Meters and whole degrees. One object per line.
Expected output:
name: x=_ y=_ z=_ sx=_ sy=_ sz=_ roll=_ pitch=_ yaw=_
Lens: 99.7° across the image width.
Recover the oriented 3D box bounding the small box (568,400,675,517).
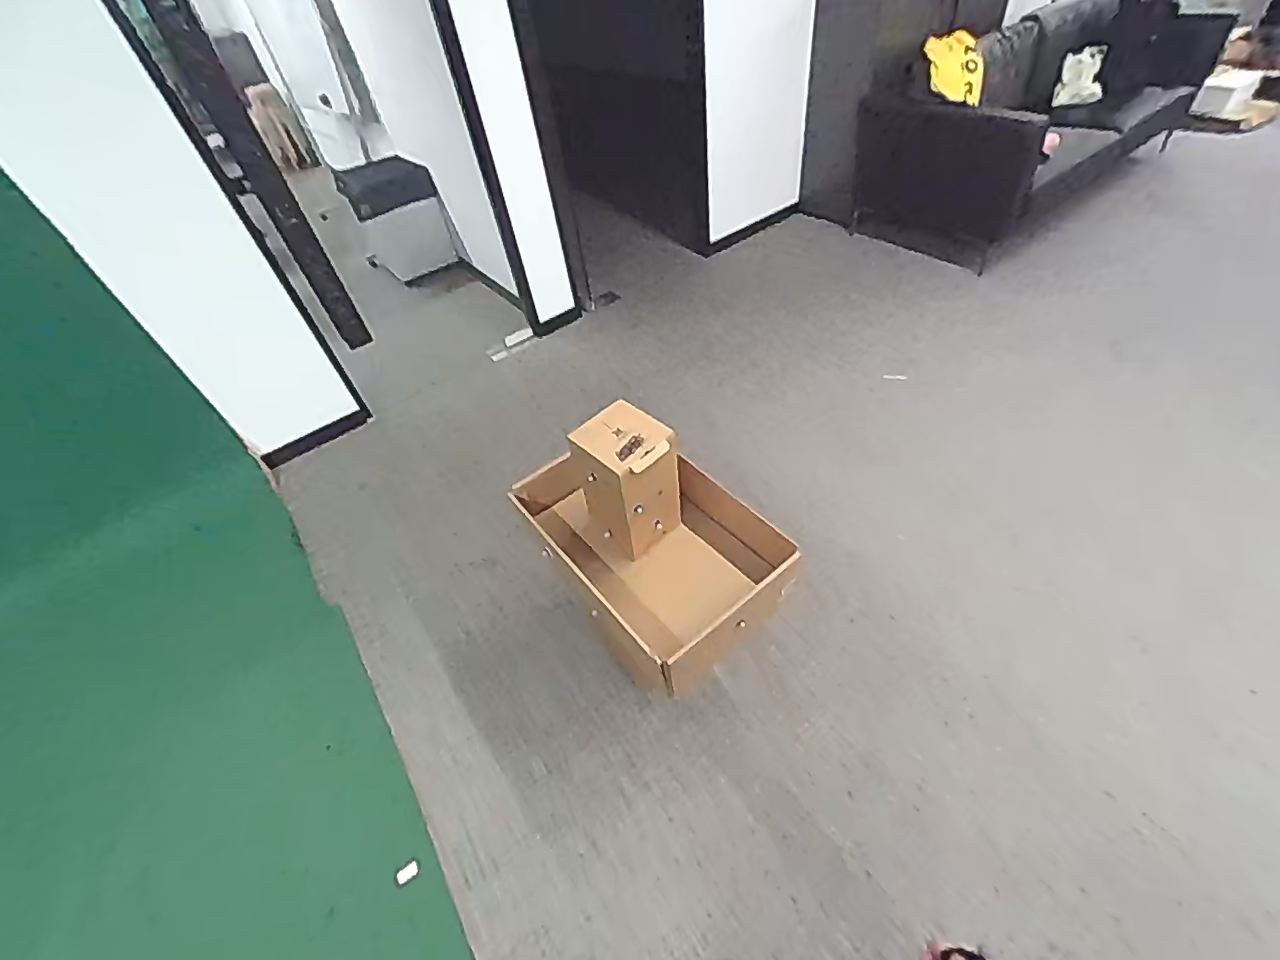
small box: x=-0.034 y=-0.042 z=1.218 sx=0.168 sy=0.176 sz=0.179 roll=-38 pitch=54 yaw=-24

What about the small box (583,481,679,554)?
small box: x=-0.018 y=0.059 z=1.347 sx=0.168 sy=0.176 sz=0.179 roll=-36 pitch=55 yaw=-24
